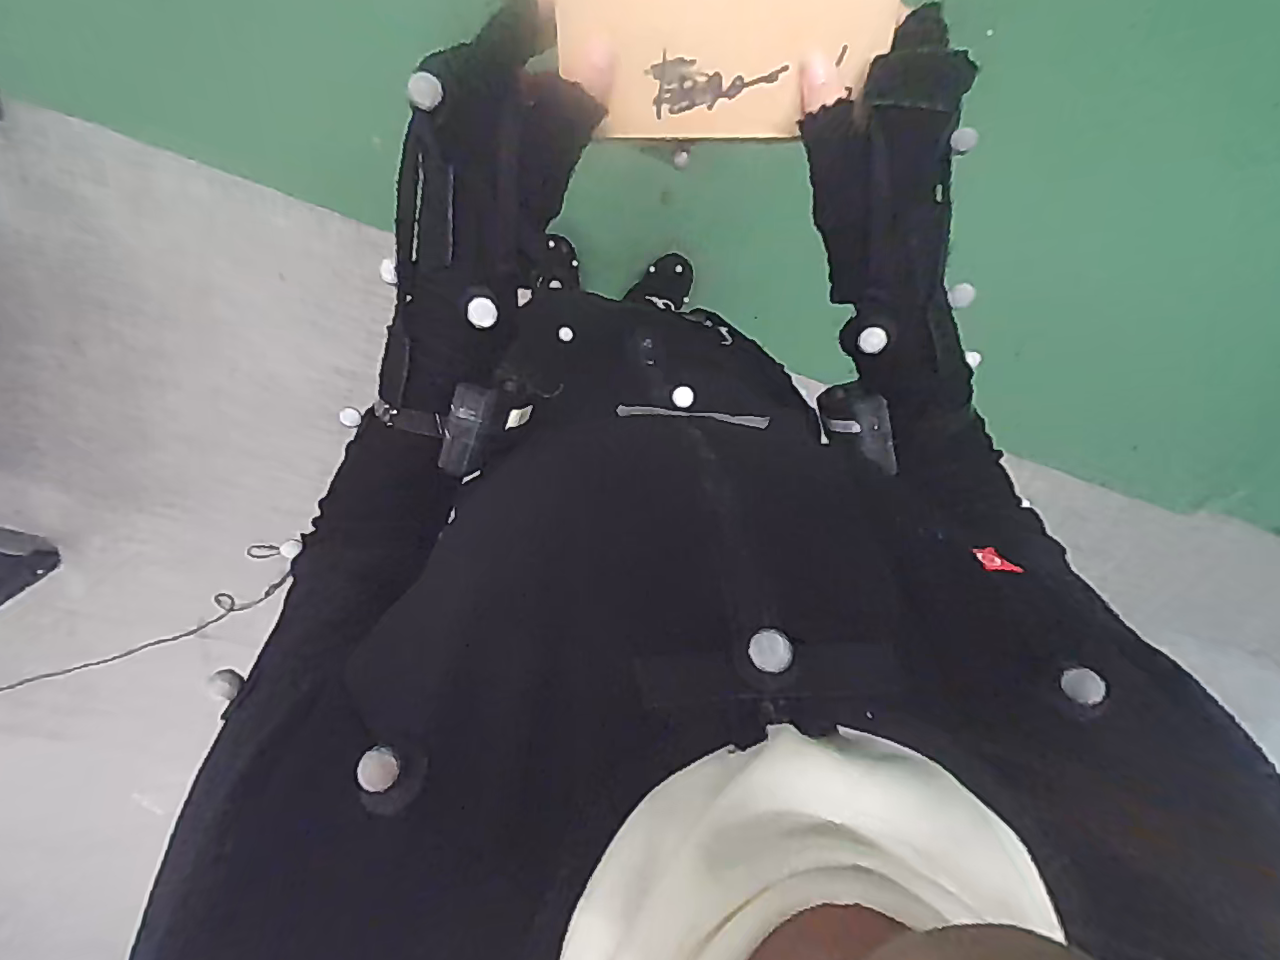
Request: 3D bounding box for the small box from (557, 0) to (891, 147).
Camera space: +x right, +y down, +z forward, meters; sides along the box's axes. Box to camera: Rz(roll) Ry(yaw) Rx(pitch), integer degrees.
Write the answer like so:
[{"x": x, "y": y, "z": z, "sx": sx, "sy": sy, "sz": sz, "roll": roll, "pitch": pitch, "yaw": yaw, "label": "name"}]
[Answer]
[{"x": 0.035, "y": -0.297, "z": 0.310, "sx": 0.168, "sy": 0.176, "sz": 0.179, "roll": -2, "pitch": 122, "yaw": -4, "label": "small box"}]
